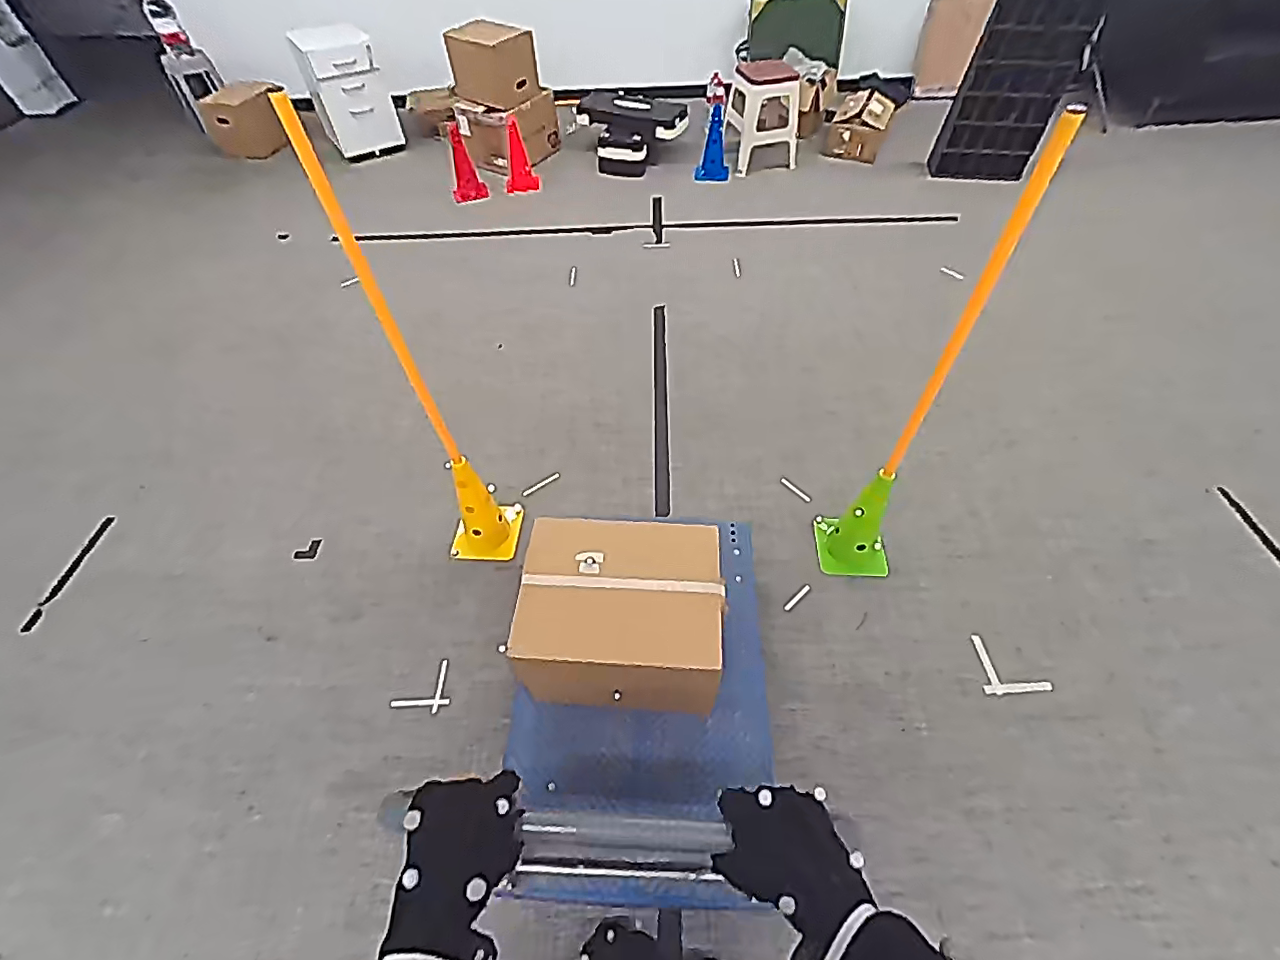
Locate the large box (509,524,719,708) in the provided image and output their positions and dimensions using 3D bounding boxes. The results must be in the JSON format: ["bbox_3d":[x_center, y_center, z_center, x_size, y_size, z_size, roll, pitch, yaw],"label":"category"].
[{"bbox_3d":[-0.035,0.311,1.217,0.408,0.320,0.320,2,52,5],"label":"large box"}]

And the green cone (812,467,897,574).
[{"bbox_3d":[0.642,0.094,1.540,0.202,0.368,0.200,3,52,3],"label":"green cone"}]
